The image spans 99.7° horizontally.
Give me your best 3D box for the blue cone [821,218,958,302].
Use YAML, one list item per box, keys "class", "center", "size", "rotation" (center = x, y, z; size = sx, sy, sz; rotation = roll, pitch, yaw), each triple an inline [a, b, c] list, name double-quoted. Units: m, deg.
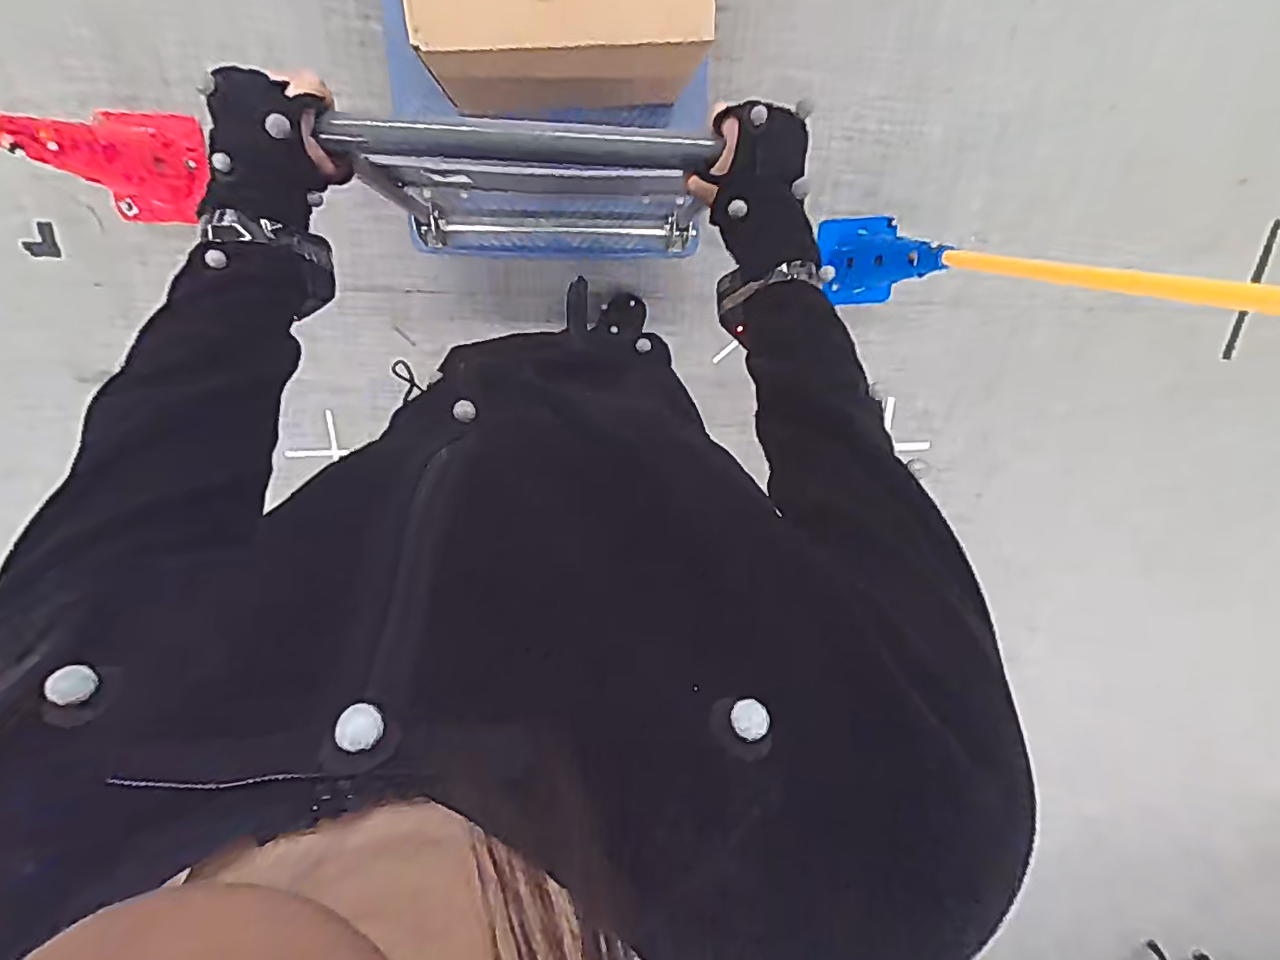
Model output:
- class: "blue cone"
  center: [0.558, -0.488, 1.185]
  size: [0.193, 0.380, 0.192]
  rotation: [-4, 110, -6]
